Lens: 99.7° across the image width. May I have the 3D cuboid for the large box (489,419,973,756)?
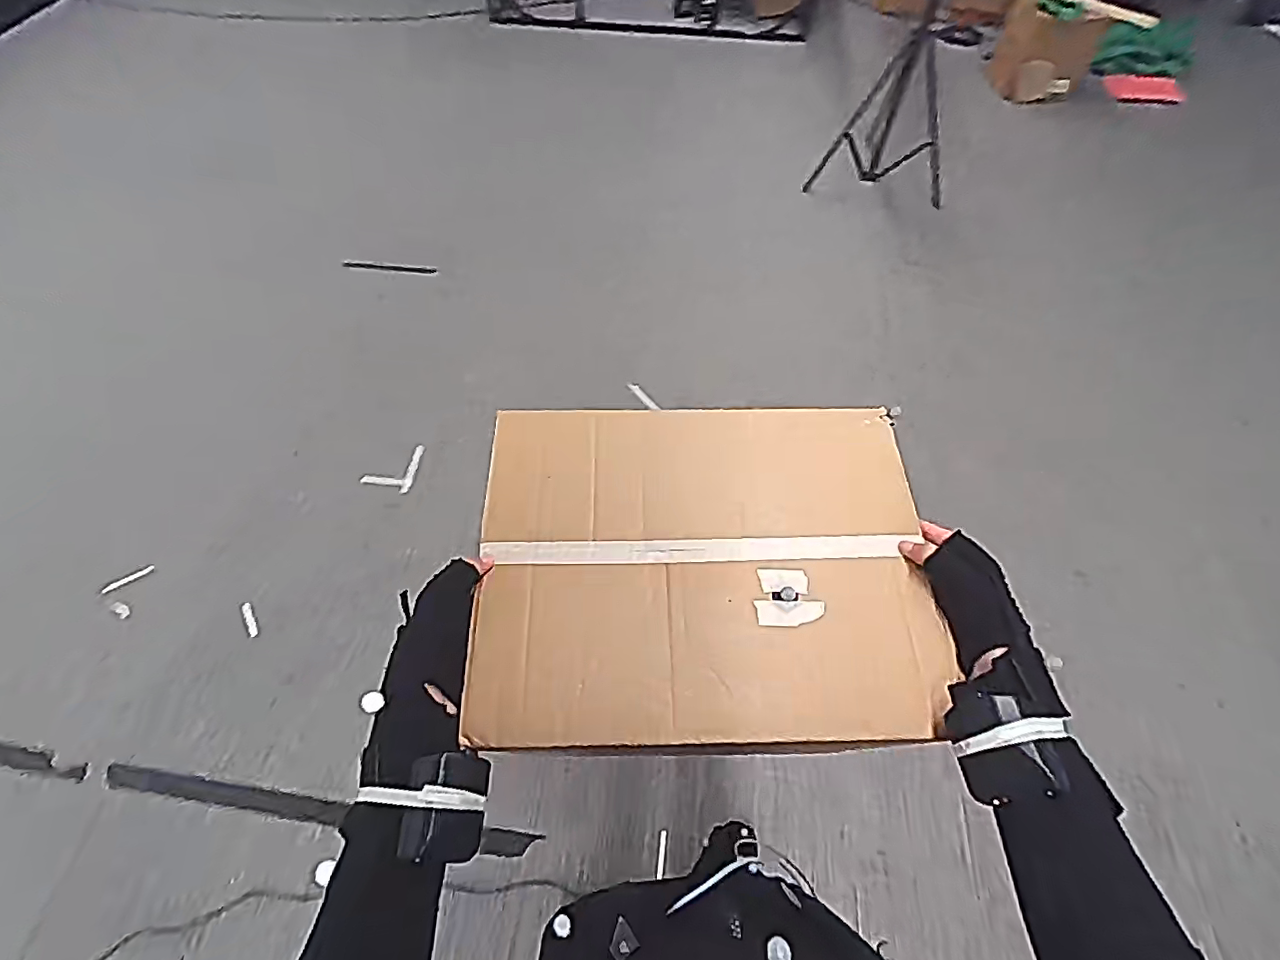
[{"bbox_3d":[0.067,0.142,0.634,0.408,0.320,0.320,0,62,-1],"label":"large box"}]
